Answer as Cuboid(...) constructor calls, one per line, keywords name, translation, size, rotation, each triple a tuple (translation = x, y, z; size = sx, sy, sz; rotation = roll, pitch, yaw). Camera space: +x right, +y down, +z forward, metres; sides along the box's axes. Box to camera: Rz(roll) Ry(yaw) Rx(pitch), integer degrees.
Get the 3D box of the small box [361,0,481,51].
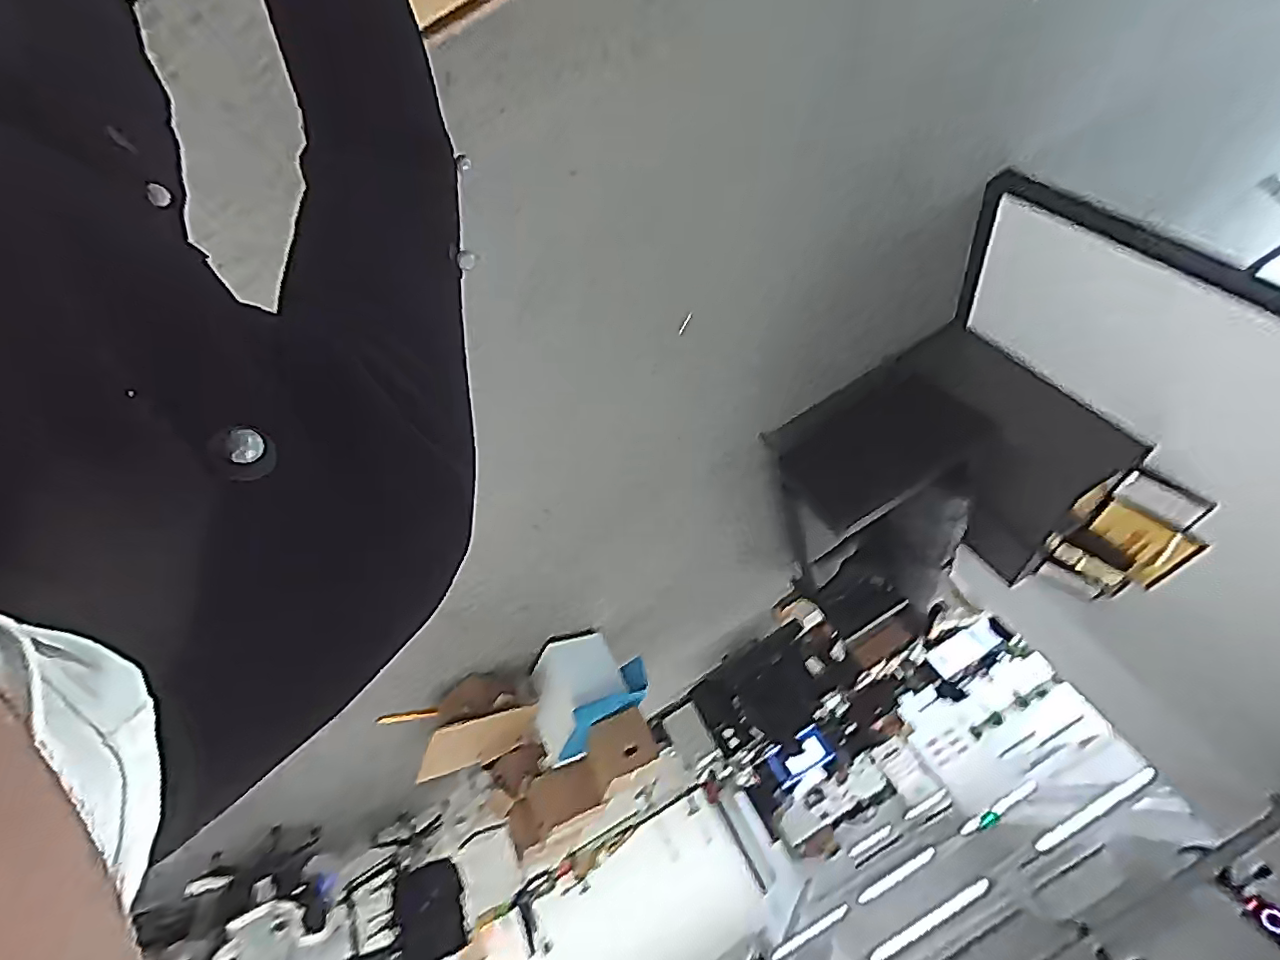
Cuboid(name="small box", translation=(-0.386, -0.830, 0.851), size=(0.168, 0.176, 0.179), rotation=(-32, 145, 0))
